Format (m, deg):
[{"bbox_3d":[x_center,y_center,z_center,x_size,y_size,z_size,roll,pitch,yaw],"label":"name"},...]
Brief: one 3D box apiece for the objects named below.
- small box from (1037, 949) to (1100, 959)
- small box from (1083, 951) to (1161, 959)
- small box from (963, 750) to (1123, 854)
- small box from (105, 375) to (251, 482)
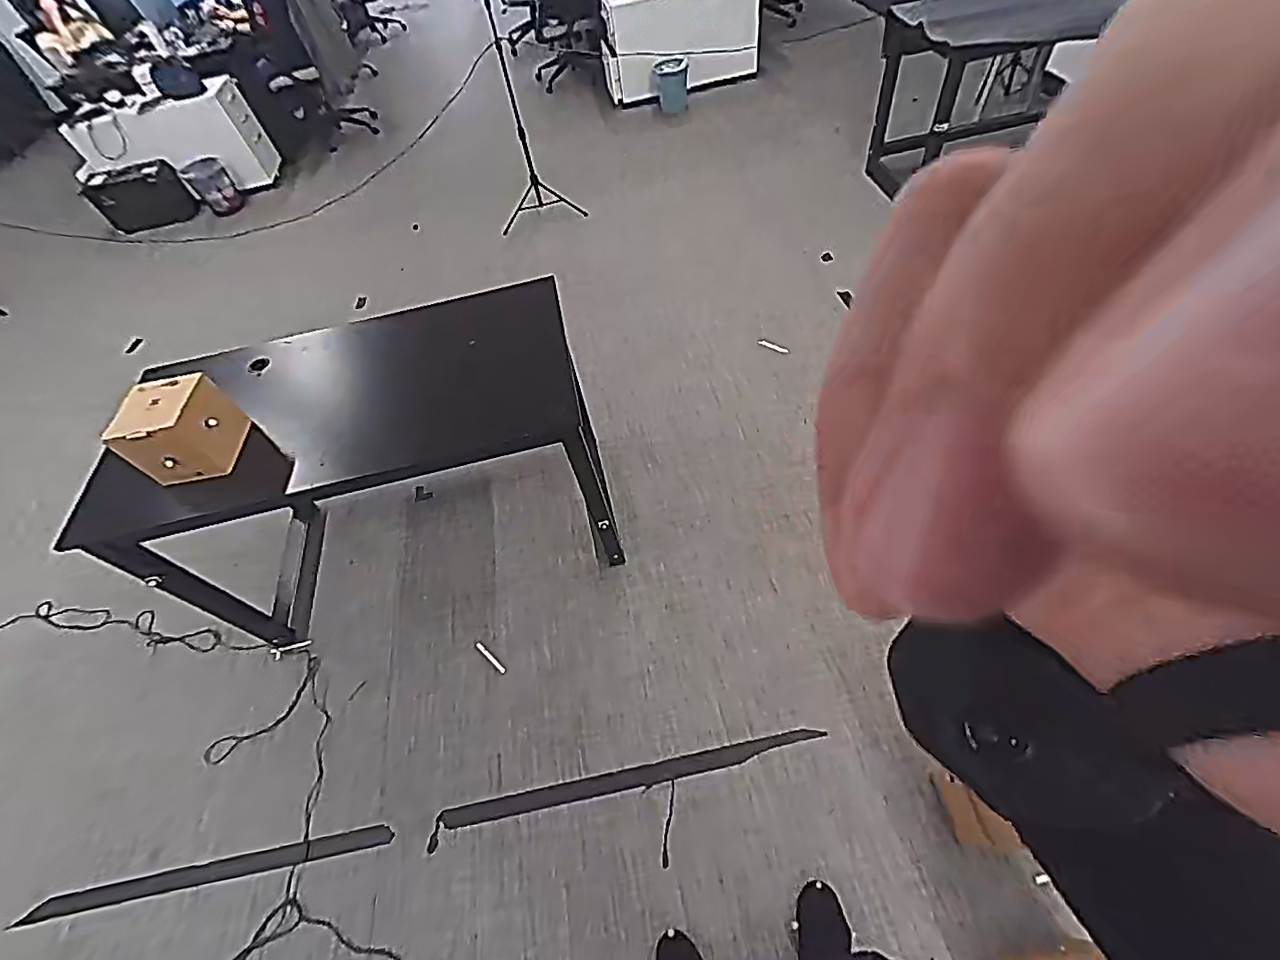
[{"bbox_3d":[0.855,1.025,1.030,0.179,0.176,0.168,-15,52,-1],"label":"small box"},{"bbox_3d":[0.834,0.919,0.906,0.179,0.176,0.168,-14,52,-1],"label":"small box"},{"bbox_3d":[0.805,0.645,1.106,0.168,0.176,0.179,-13,54,-1],"label":"small box"},{"bbox_3d":[-1.053,-0.111,1.253,0.168,0.176,0.179,-10,54,1],"label":"small box"}]
